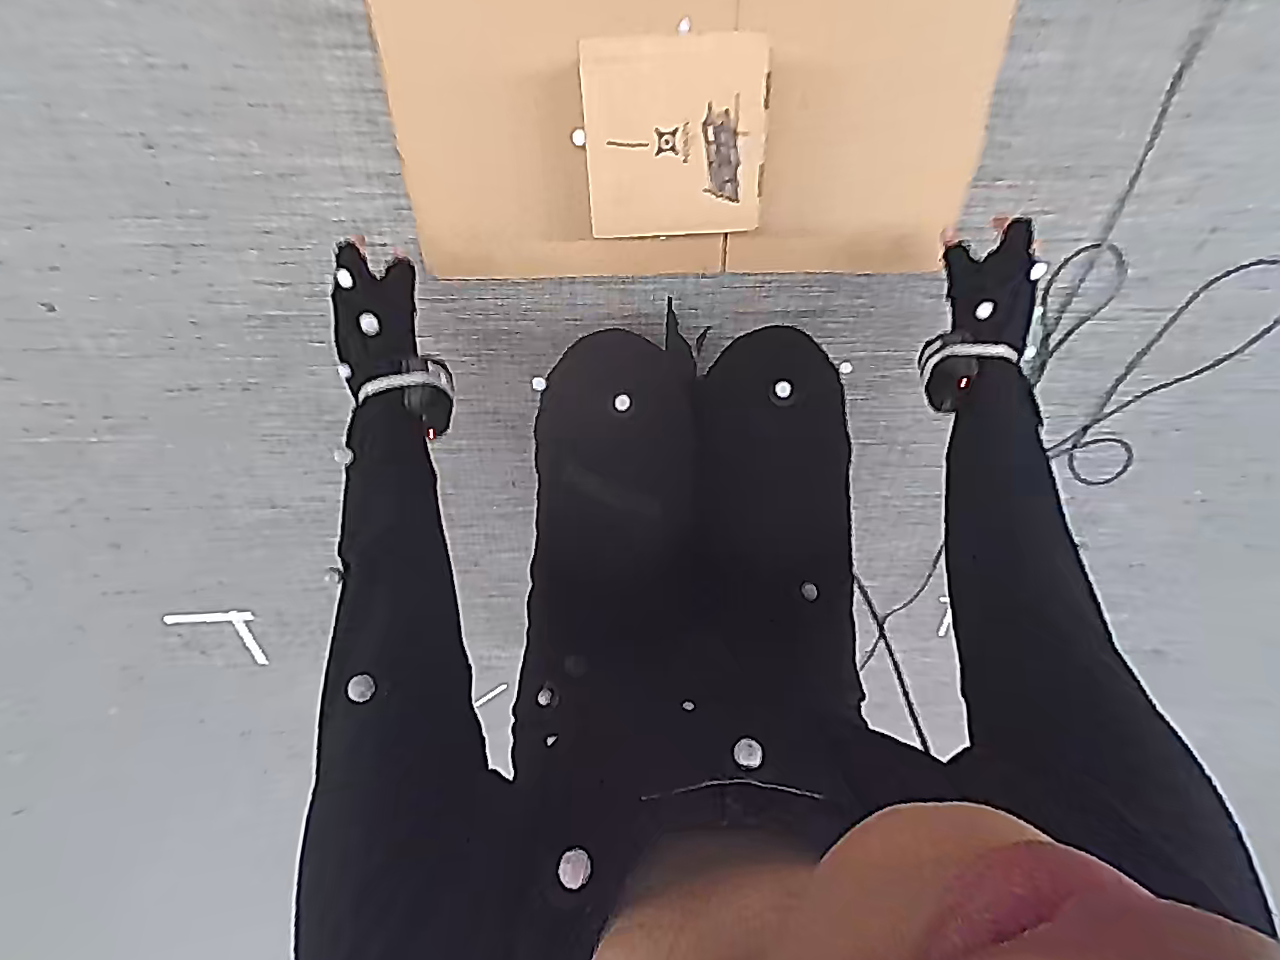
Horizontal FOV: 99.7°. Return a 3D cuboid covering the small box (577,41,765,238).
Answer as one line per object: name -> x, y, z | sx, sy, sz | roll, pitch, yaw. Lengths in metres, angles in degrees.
small box -> 0.028, -0.374, 0.601 | 0.179, 0.176, 0.168 | -2, 123, 0
